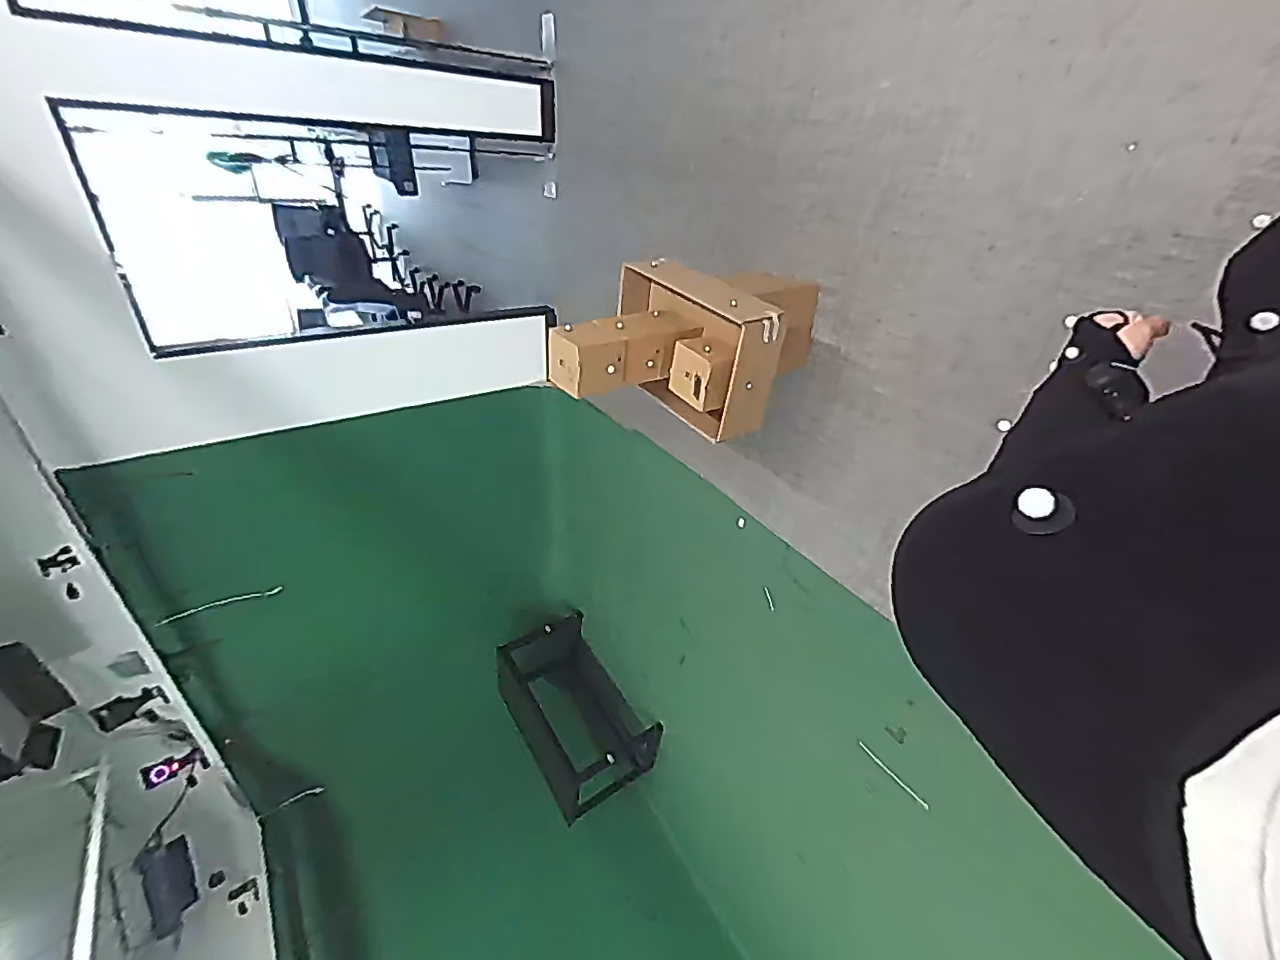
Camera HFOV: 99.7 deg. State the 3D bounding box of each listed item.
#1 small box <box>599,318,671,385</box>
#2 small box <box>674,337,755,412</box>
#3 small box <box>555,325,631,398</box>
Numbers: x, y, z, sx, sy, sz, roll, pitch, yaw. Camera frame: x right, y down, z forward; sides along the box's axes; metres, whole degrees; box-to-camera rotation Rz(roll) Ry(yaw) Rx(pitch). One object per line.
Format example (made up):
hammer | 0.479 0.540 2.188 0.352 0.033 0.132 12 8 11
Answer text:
small box | -0.025 -0.425 1.771 0.179 0.176 0.168 41 136 38
small box | 0.235 -0.340 1.705 0.179 0.176 0.168 45 139 40
small box | -0.149 -0.373 1.674 0.179 0.176 0.168 39 136 39
